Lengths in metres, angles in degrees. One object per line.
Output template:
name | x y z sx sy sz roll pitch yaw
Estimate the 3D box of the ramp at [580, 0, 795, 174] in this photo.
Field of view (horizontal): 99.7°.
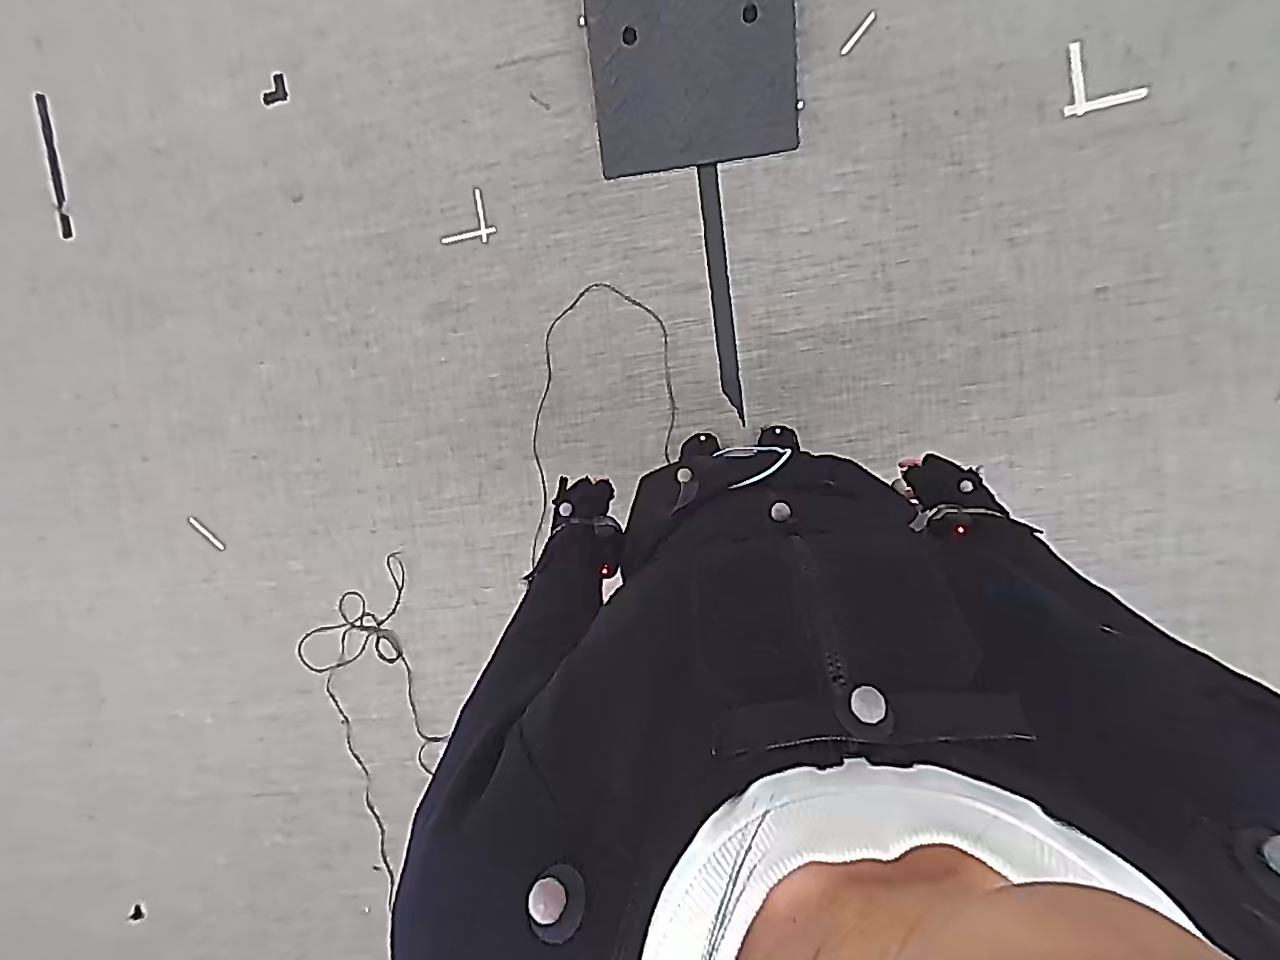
ramp | 0.086 -1.279 1.221 0.509 0.206 0.991 -7 96 6
